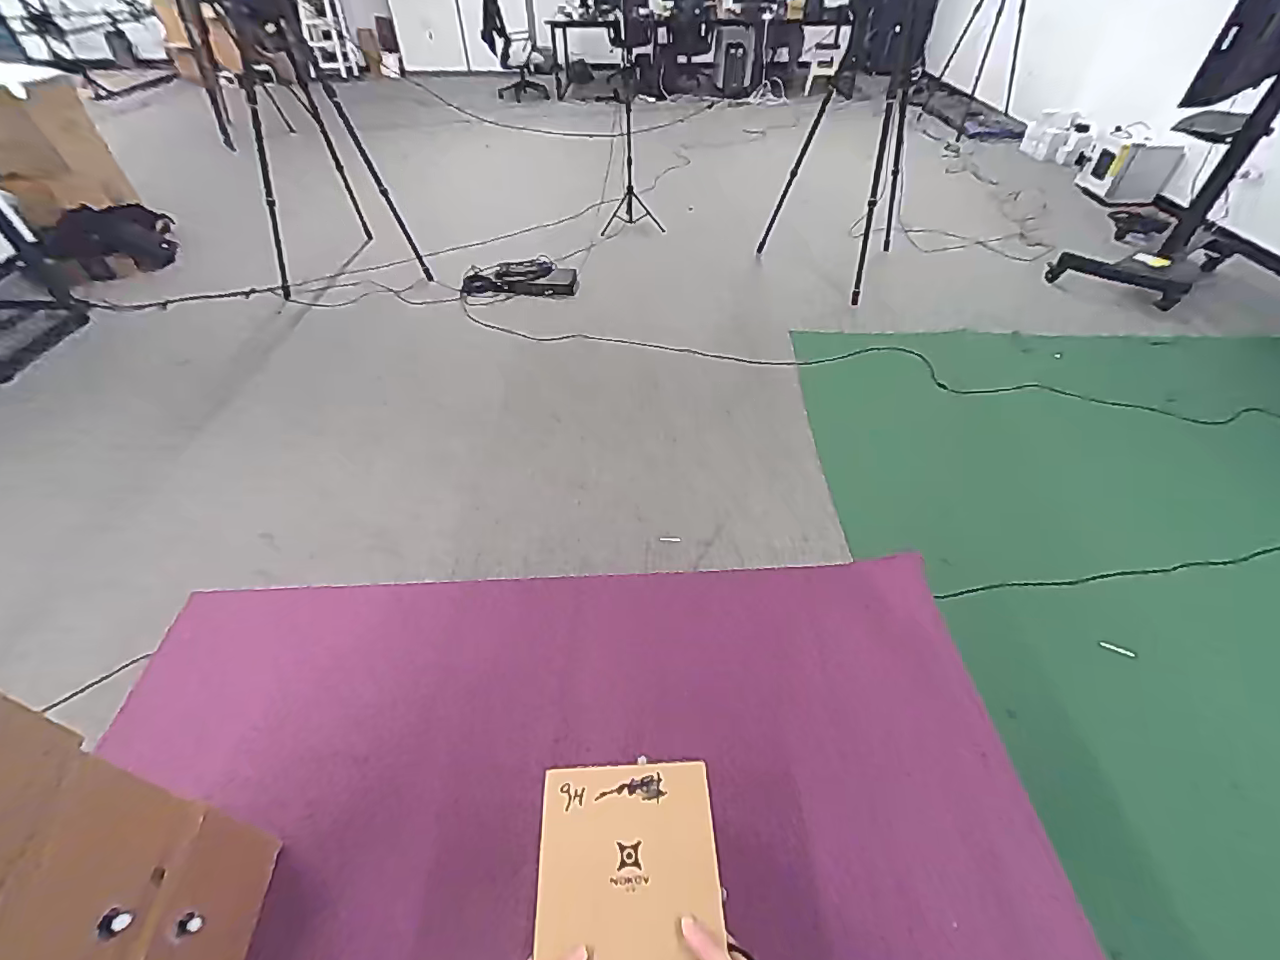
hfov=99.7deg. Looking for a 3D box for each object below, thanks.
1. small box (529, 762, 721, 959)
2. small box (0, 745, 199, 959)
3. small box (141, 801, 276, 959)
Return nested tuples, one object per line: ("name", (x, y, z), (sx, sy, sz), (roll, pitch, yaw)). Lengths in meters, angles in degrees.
("small box", (-0.013, 0.410, 0.557), (0.168, 0.176, 0.179), (-1, 47, -2))
("small box", (-0.505, 0.324, 0.414), (0.179, 0.176, 0.168), (-3, 46, -5))
("small box", (-0.502, 0.438, 0.530), (0.168, 0.176, 0.179), (-2, 45, -3))
